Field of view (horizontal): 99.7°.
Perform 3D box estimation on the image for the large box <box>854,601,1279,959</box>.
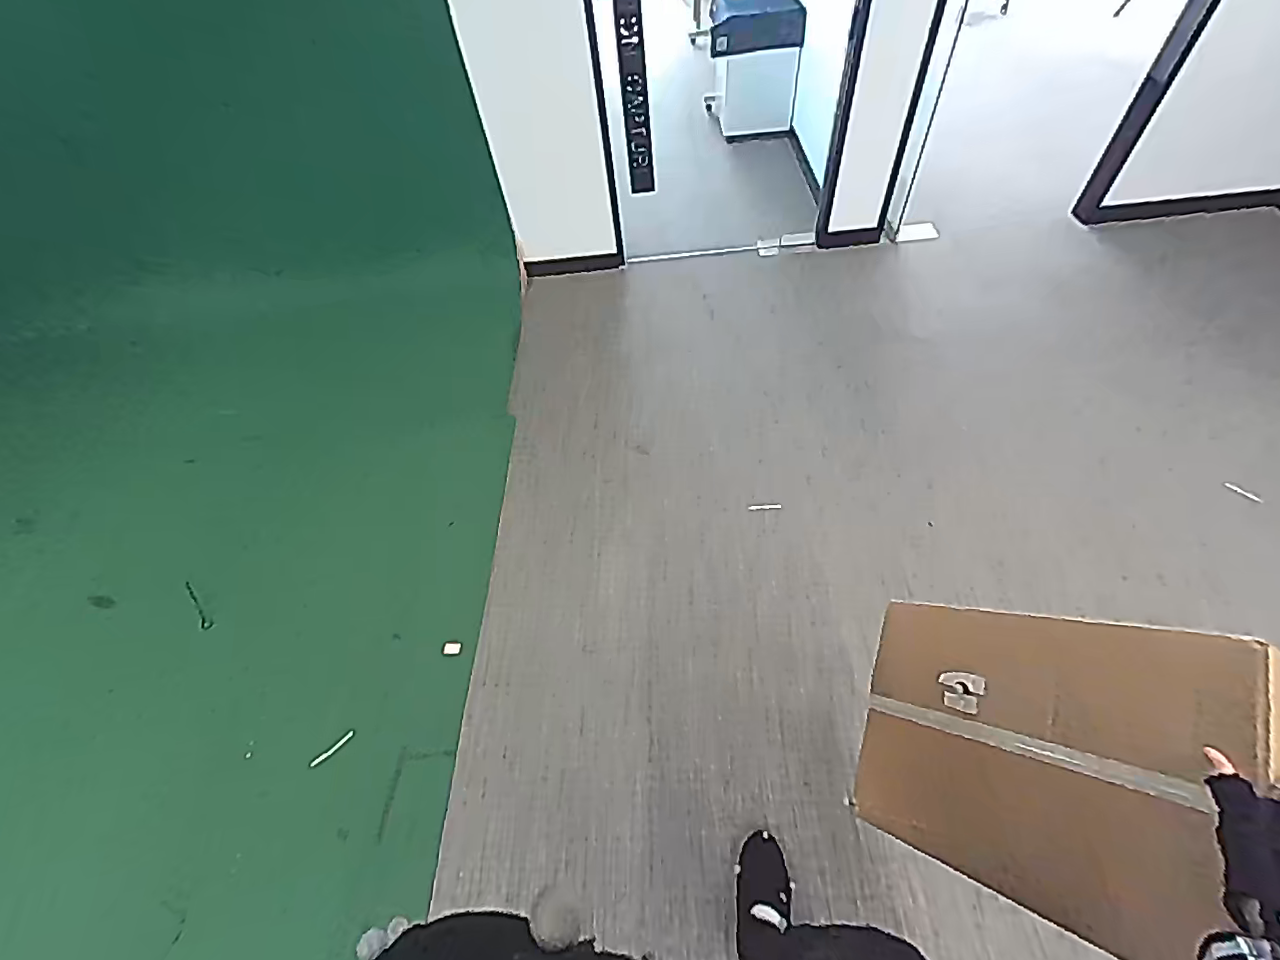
[{"bbox_3d":[0.563,0.361,0.695,0.320,0.408,0.320,26,72,-22],"label":"large box"}]
